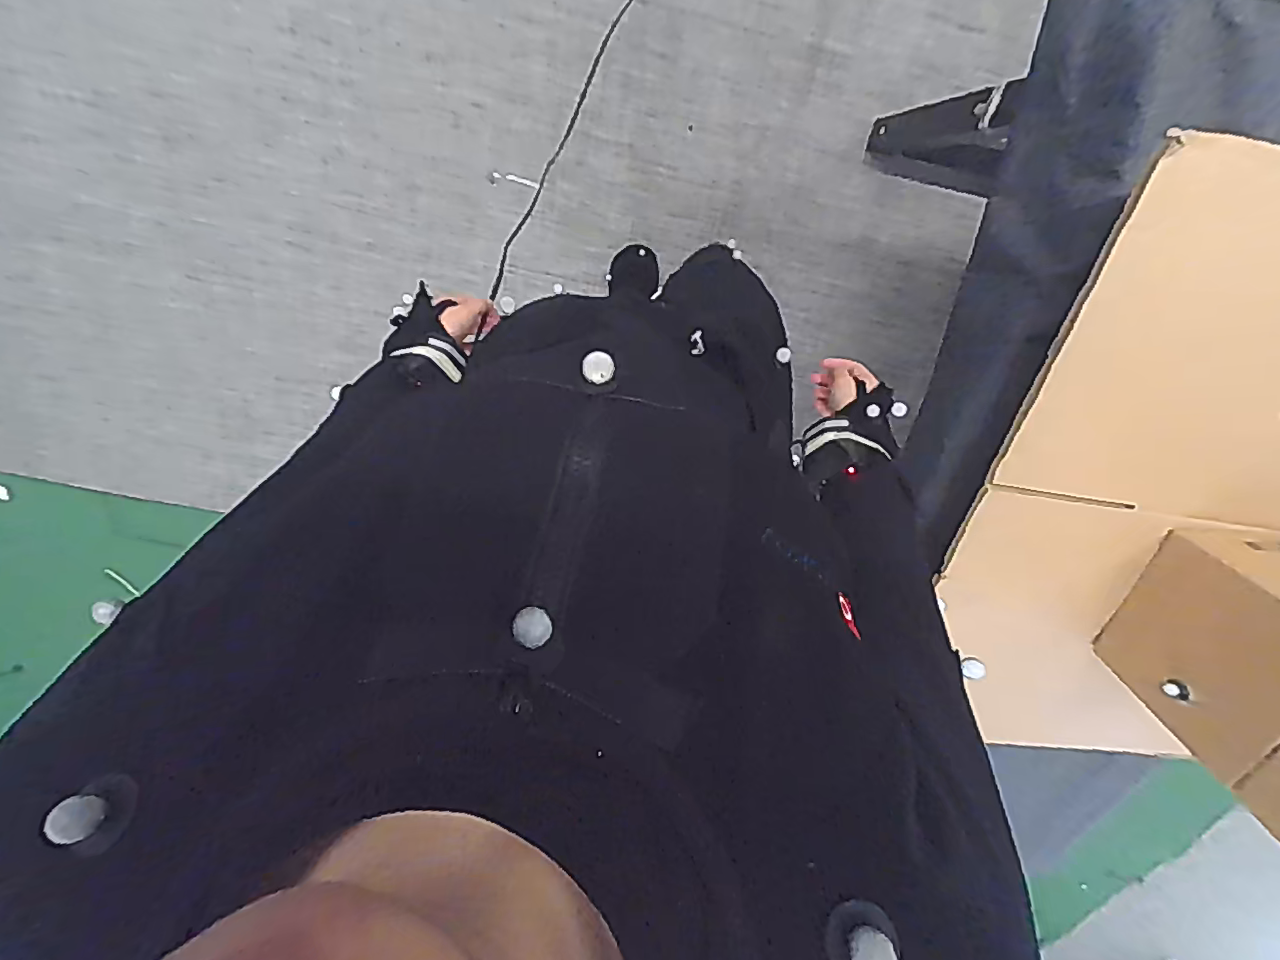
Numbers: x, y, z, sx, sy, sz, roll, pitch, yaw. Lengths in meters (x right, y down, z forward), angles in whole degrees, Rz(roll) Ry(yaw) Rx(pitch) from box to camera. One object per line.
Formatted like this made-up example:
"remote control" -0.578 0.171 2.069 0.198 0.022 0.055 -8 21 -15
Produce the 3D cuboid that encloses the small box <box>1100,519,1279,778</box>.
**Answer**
"small box" 0.610 0.158 0.524 0.168 0.176 0.179 1 120 -4
